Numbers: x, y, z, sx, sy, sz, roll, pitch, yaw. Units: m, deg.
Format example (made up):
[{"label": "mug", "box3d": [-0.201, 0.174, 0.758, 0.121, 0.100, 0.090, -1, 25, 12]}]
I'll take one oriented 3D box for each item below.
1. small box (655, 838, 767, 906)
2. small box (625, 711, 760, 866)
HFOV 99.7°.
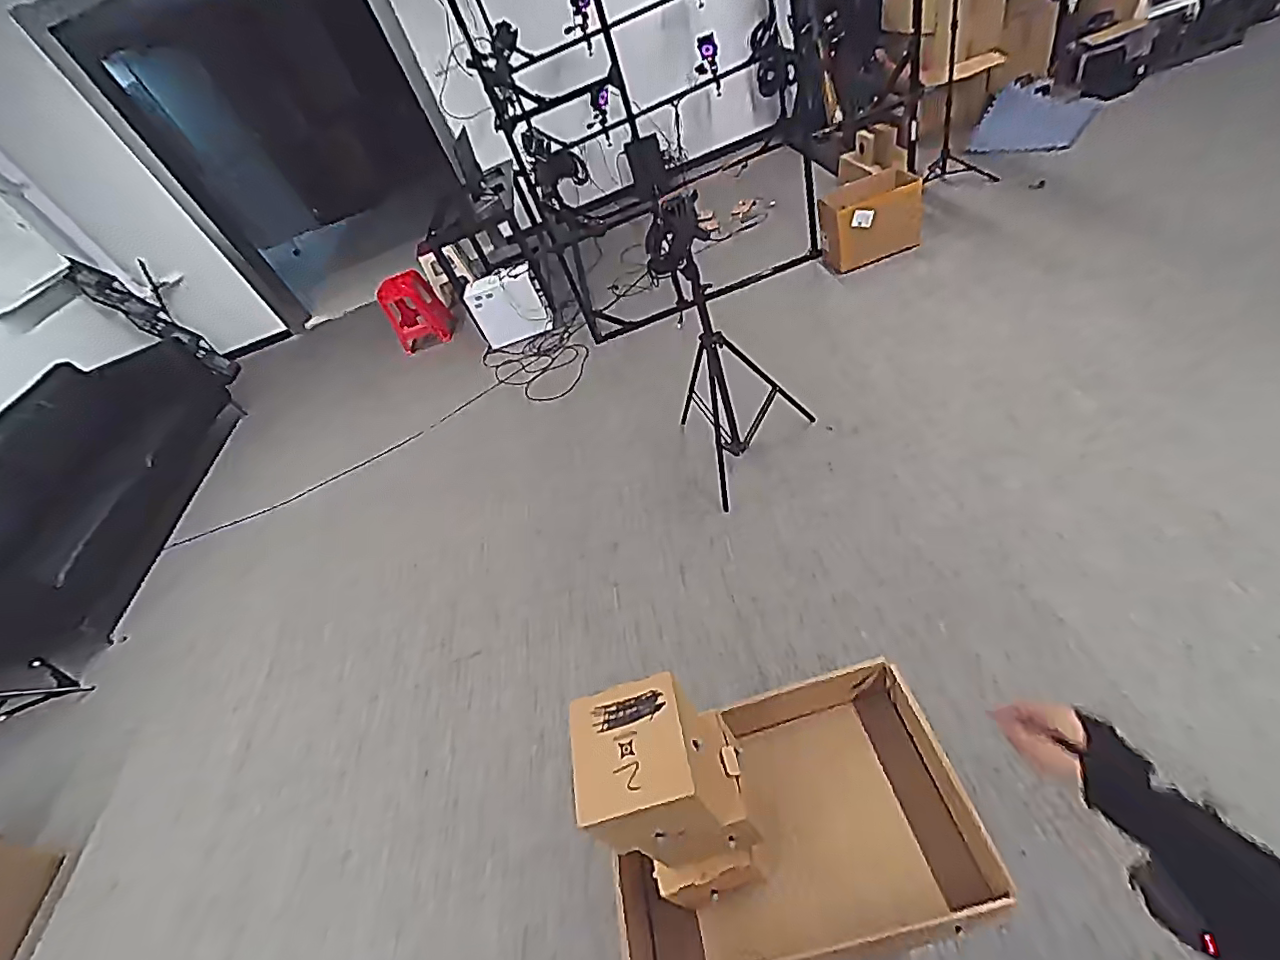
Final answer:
[{"label": "small box", "box3d": [0.119, 0.656, 1.007, 0.168, 0.176, 0.179, -24, 43, 3]}, {"label": "small box", "box3d": [0.092, 0.522, 0.910, 0.179, 0.176, 0.168, -20, 42, 6]}]
